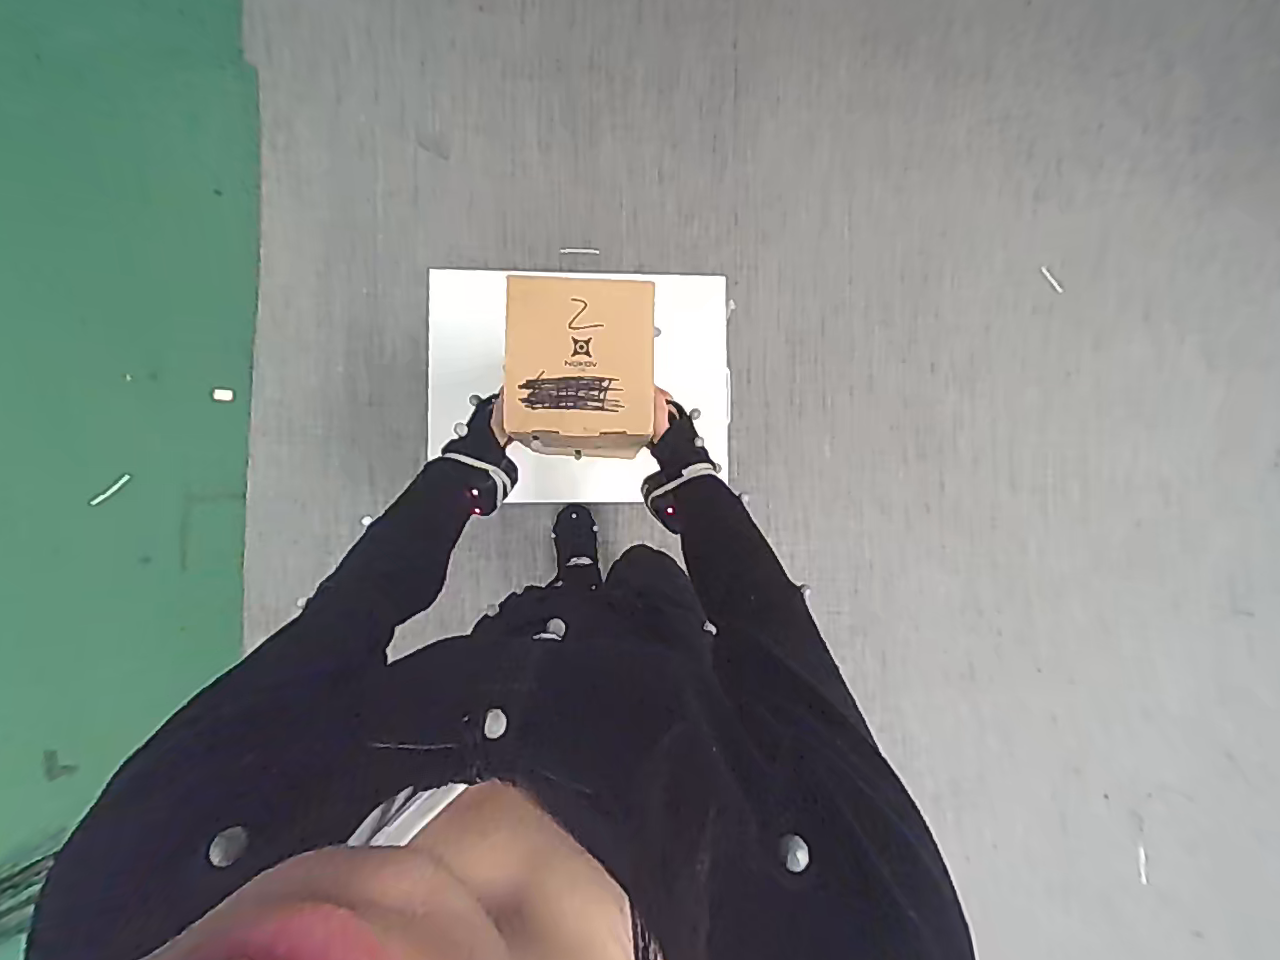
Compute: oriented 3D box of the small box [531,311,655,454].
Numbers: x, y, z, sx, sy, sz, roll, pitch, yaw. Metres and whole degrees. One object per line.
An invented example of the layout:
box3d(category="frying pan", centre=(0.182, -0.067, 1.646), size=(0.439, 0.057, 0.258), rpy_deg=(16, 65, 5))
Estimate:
box3d(category="small box", centre=(-0.070, -0.138, 0.822), size=(0.168, 0.176, 0.179), rpy_deg=(2, 88, -4))
